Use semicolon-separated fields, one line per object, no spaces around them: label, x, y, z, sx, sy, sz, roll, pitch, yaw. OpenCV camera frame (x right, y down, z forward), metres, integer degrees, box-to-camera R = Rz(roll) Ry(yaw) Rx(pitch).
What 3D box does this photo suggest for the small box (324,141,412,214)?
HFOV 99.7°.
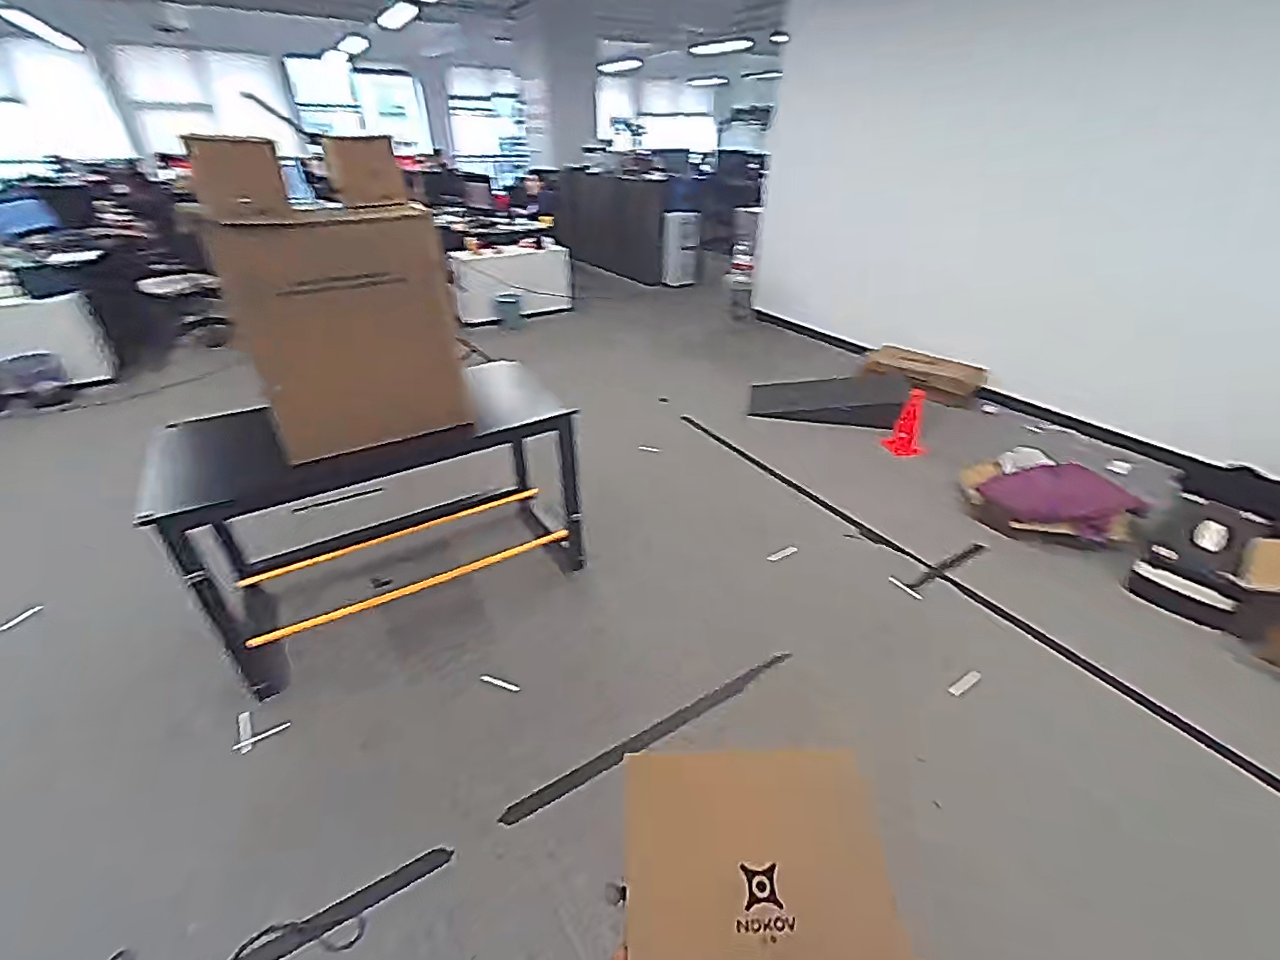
small box;-0.767;-0.859;1.535;0.168;0.176;0.179;-22;37;-28
